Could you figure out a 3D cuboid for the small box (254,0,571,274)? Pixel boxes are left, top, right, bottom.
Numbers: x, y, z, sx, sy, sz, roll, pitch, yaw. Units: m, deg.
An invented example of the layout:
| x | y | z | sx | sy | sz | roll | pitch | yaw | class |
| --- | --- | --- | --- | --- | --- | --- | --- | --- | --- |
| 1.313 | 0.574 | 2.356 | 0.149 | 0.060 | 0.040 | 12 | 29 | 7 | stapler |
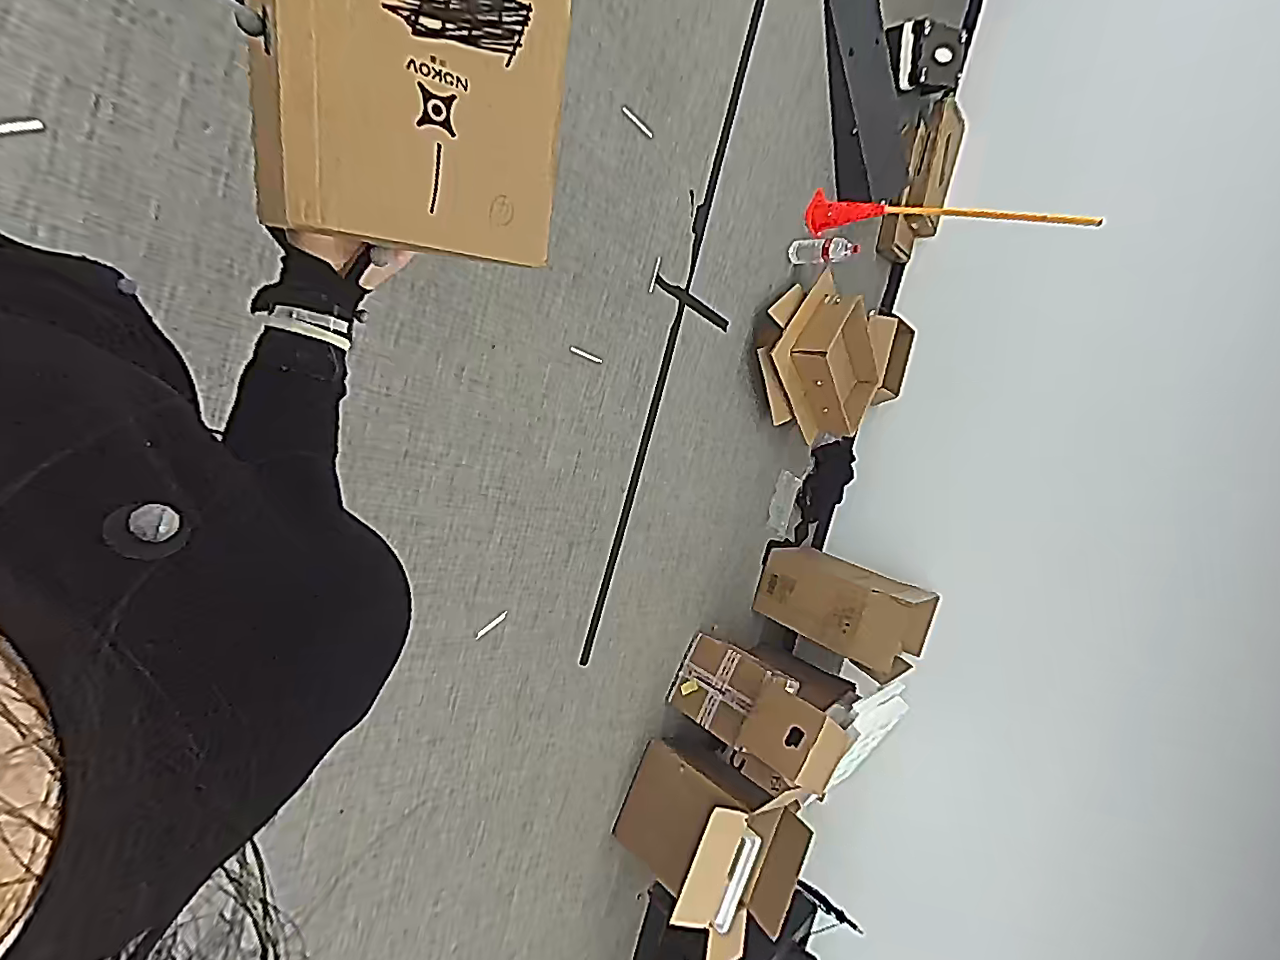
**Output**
| x | y | z | sx | sy | sz | roll | pitch | yaw | class |
| --- | --- | --- | --- | --- | --- | --- | --- | --- | --- |
| -0.171 | -0.260 | 0.393 | 0.168 | 0.176 | 0.179 | -5 | 114 | -38 | small box |
